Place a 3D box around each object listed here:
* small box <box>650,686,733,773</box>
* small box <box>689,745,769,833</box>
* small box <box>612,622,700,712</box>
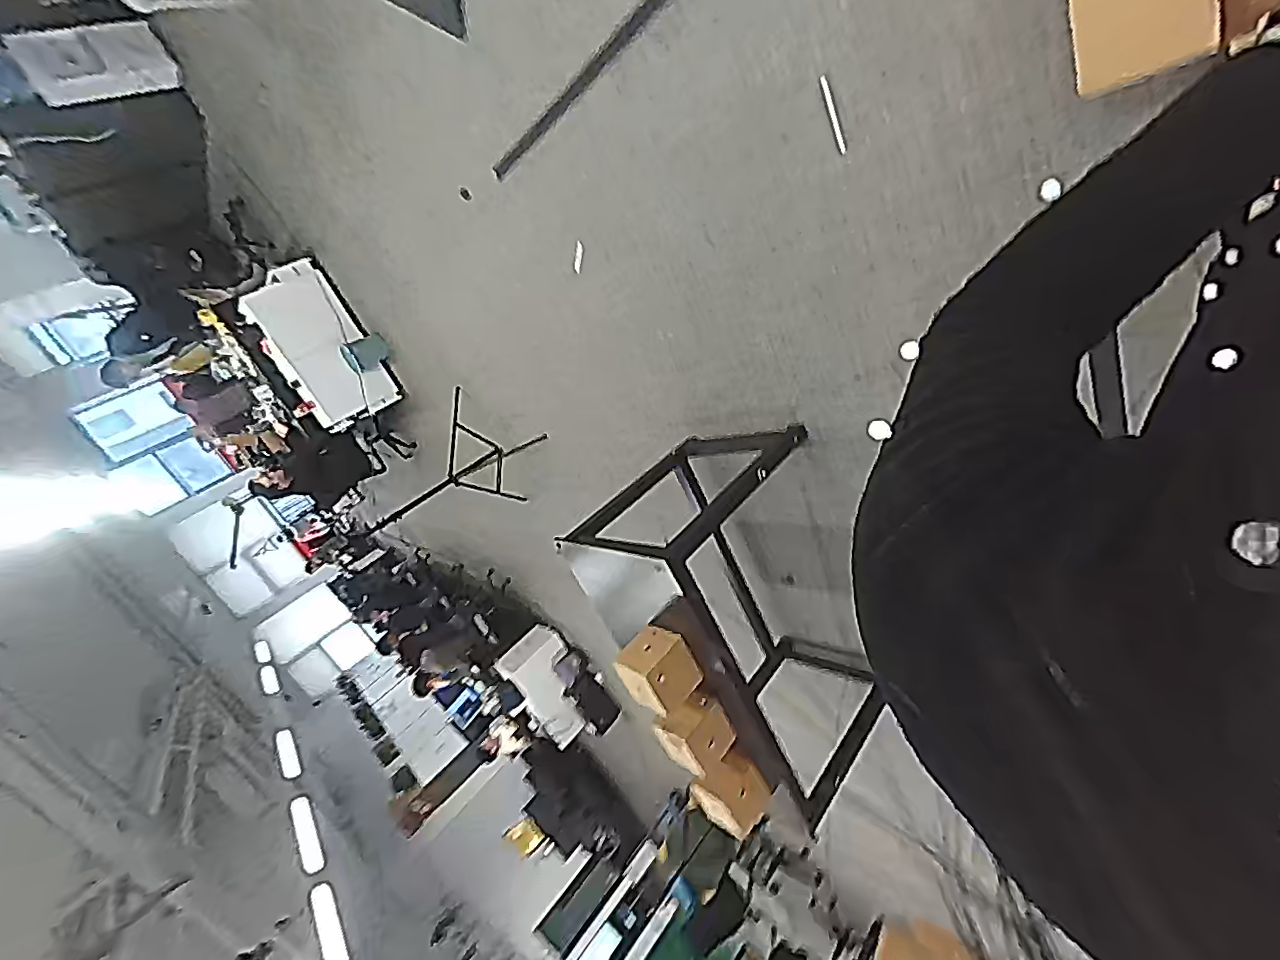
[{"bbox_3d":[0.170,0.790,1.745,0.168,0.176,0.179,2,125,52],"label":"small box"},{"bbox_3d":[0.304,1.037,1.837,0.168,0.176,0.179,-2,122,55],"label":"small box"},{"bbox_3d":[0.052,0.564,1.655,0.168,0.176,0.179,1,124,53],"label":"small box"}]
